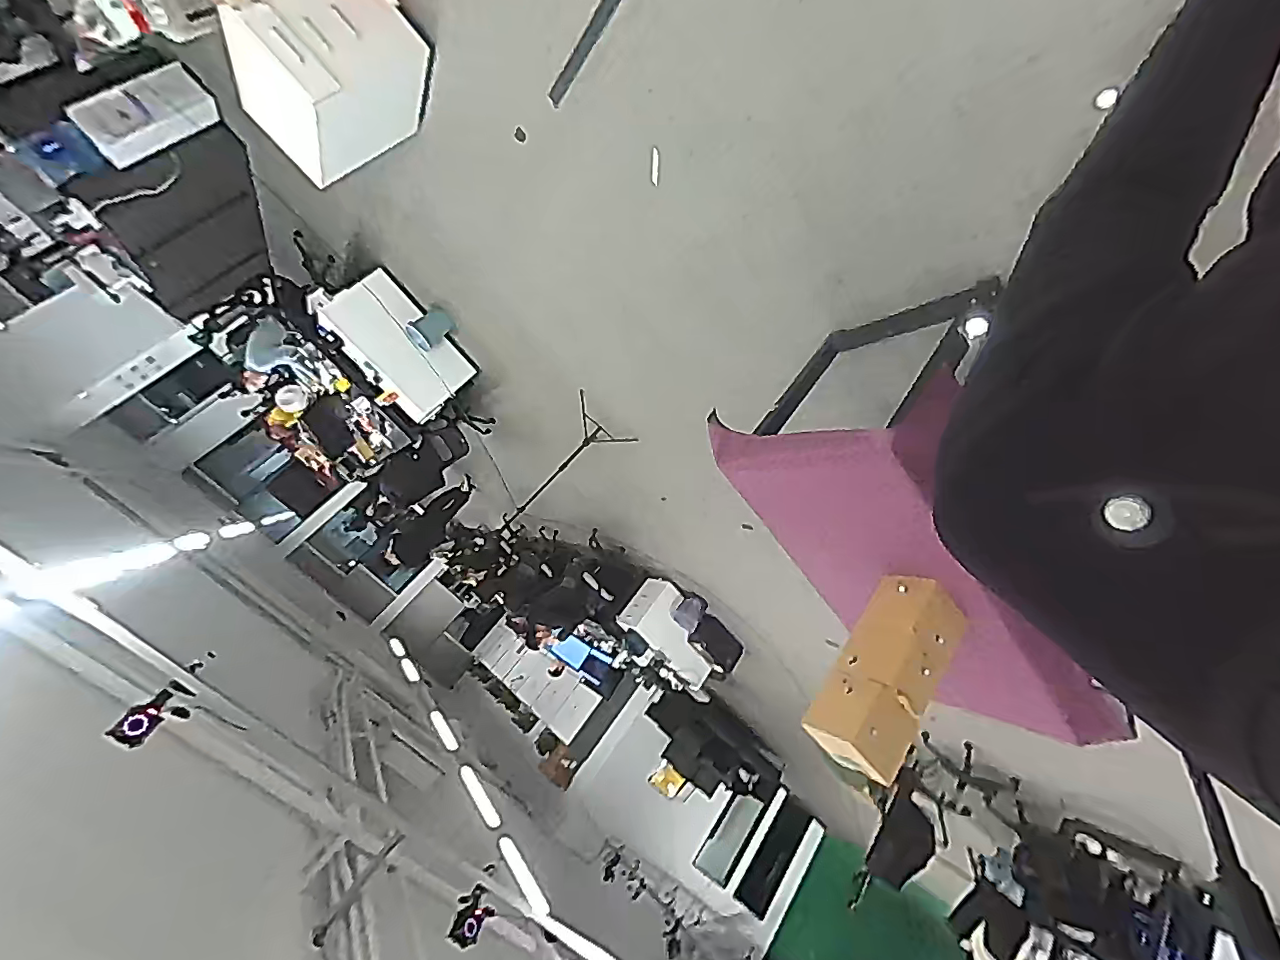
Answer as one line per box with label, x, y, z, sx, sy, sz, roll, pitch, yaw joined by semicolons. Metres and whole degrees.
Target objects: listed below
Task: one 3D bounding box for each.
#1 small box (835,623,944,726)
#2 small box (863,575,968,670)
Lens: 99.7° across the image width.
small box;0.656;0.500;1.420;0.168;0.176;0.179;49;156;-21
small box;0.757;0.384;1.479;0.179;0.176;0.168;48;156;-15
